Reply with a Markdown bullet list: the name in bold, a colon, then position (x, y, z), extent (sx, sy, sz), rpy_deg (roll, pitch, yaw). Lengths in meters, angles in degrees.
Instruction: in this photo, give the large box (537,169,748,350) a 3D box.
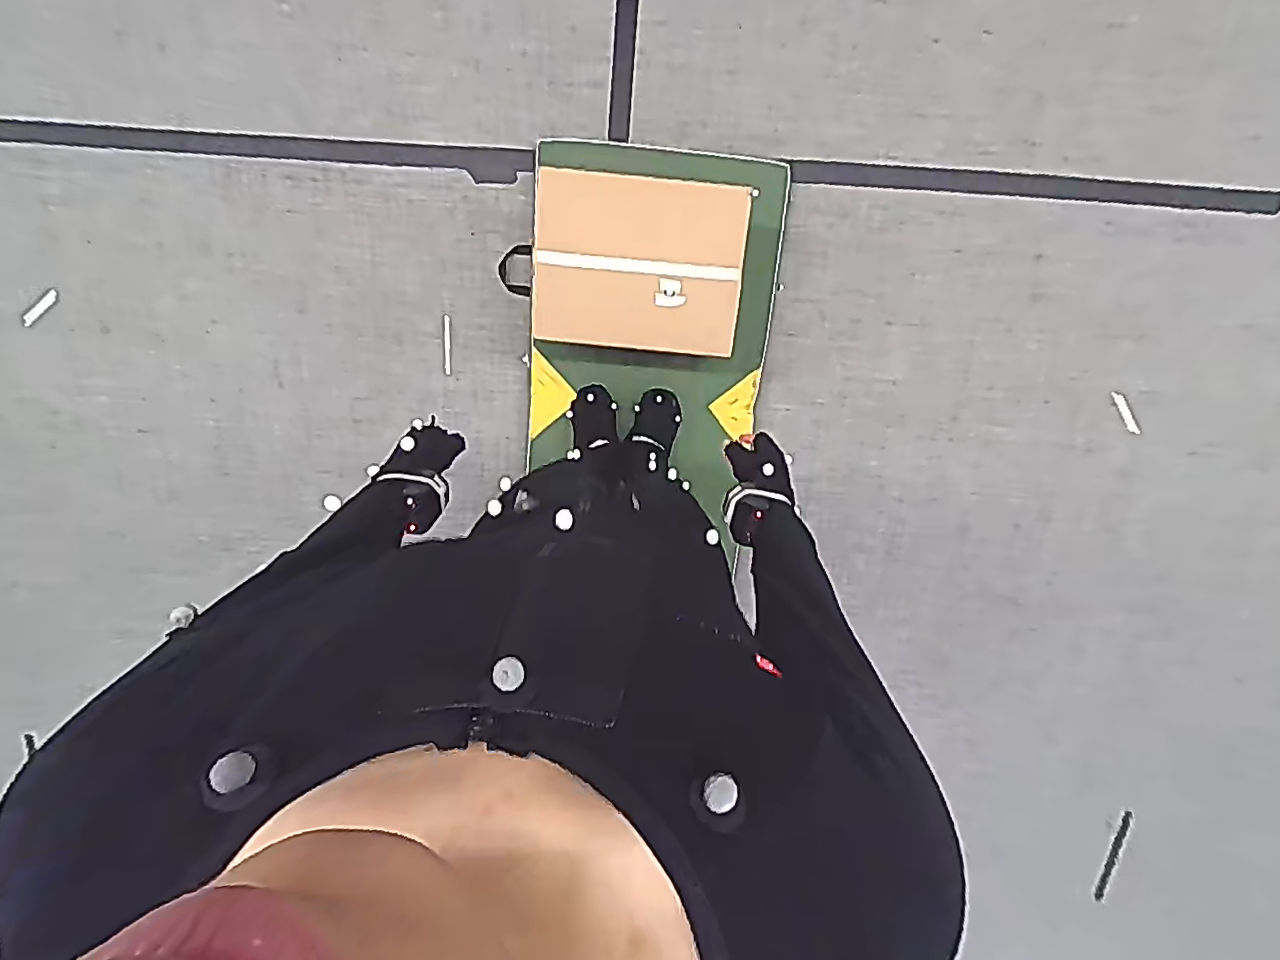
- **large box**: position (-0.004, -0.464, 1.204), extent (0.408, 0.320, 0.320), rpy_deg (5, 106, -1)
